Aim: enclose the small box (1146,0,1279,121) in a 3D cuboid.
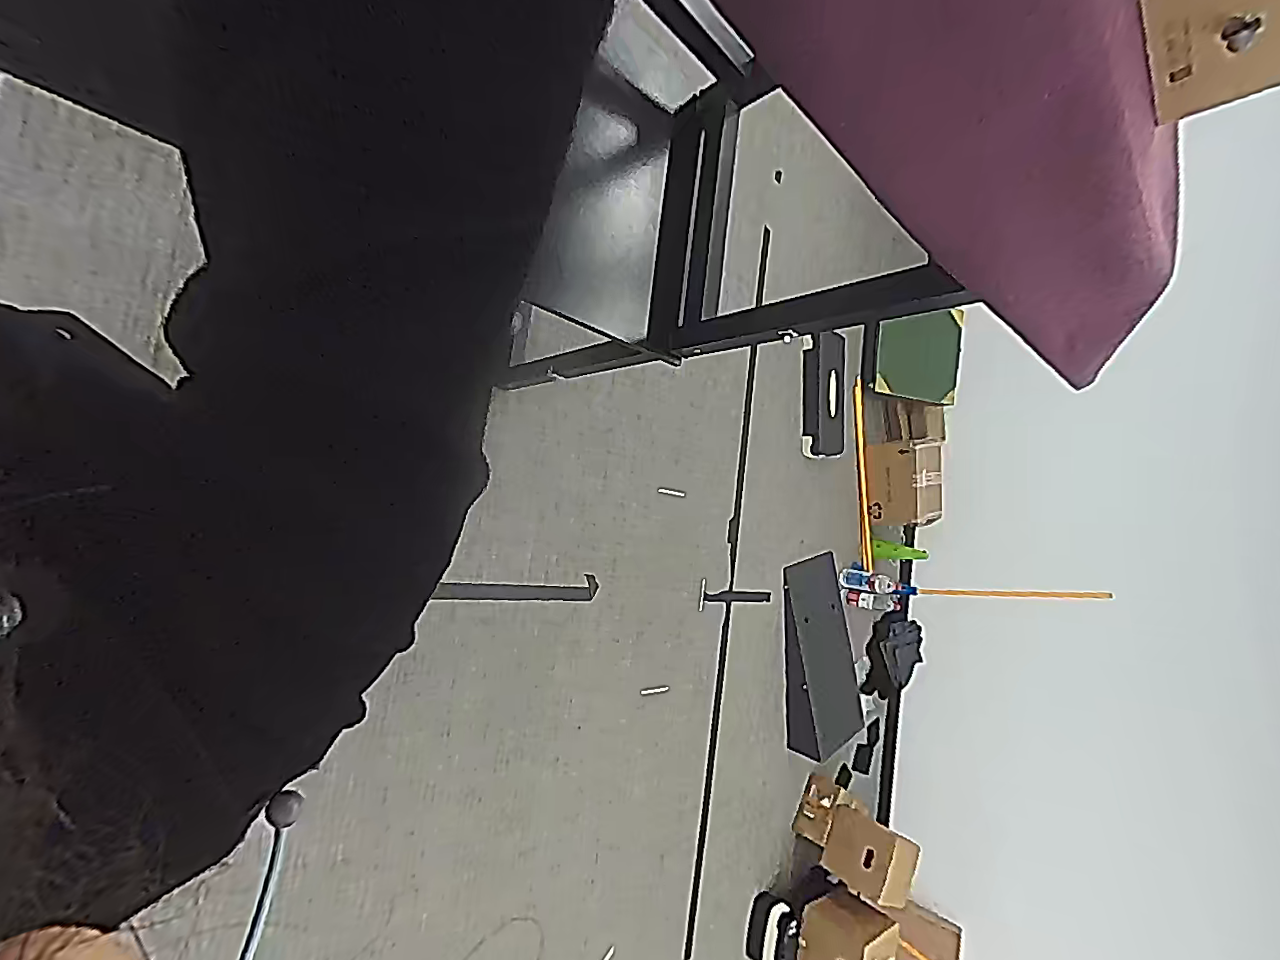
[{"bbox_3d":[0.518,-0.443,0.427,0.168,0.176,0.179,16,80,-41],"label":"small box"}]
